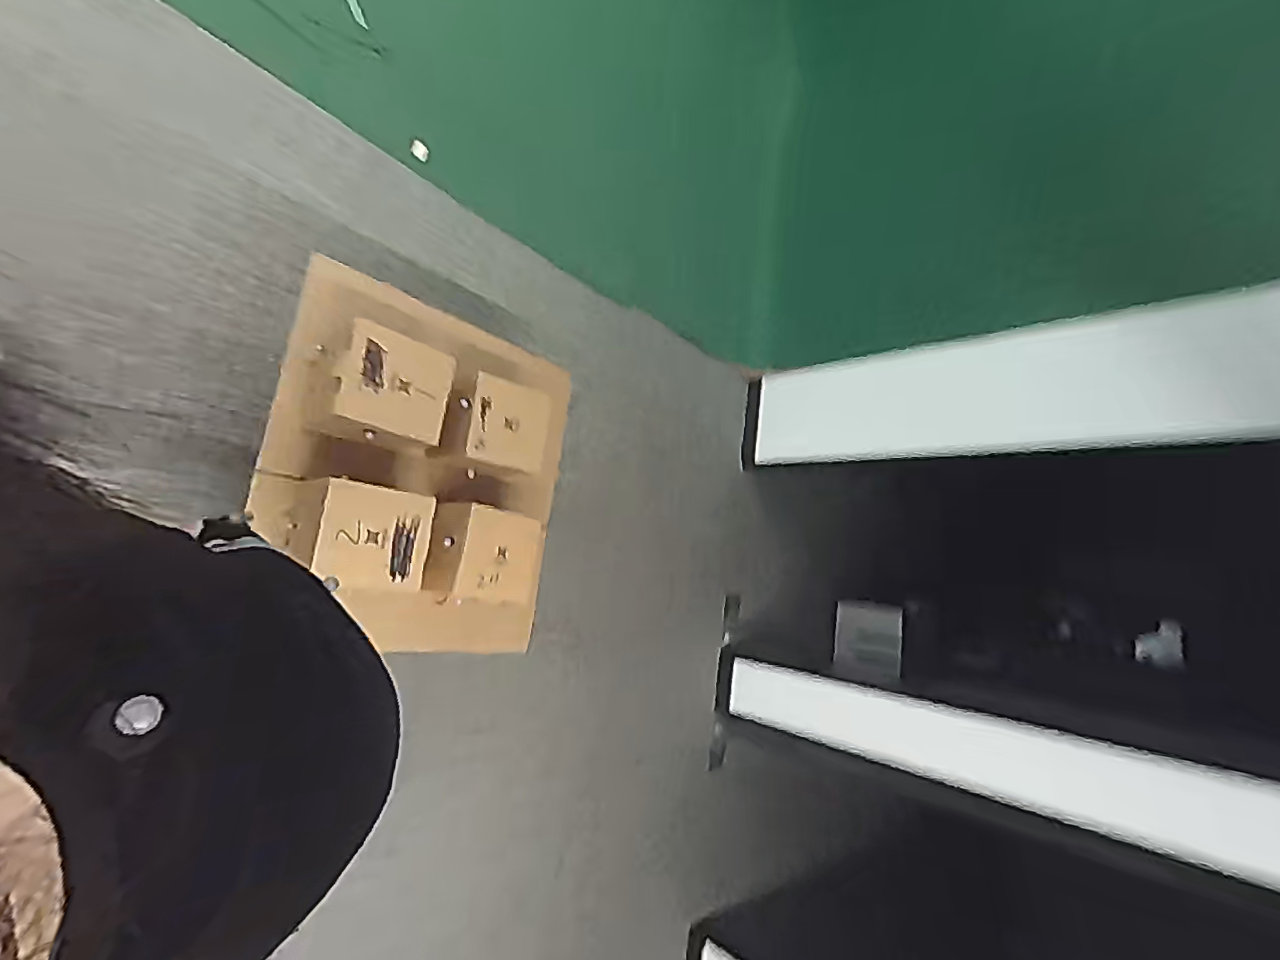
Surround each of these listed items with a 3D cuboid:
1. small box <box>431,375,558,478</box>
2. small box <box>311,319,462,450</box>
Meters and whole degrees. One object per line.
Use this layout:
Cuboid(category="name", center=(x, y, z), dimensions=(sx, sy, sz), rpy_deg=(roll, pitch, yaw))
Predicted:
Cuboid(category="small box", center=(-0.297, -0.100, 1.109), dimensions=(0.179, 0.176, 0.168), rpy_deg=(17, 75, -46))
Cuboid(category="small box", center=(-0.448, -0.154, 0.955), dimensions=(0.179, 0.176, 0.168), rpy_deg=(21, 74, -45))
